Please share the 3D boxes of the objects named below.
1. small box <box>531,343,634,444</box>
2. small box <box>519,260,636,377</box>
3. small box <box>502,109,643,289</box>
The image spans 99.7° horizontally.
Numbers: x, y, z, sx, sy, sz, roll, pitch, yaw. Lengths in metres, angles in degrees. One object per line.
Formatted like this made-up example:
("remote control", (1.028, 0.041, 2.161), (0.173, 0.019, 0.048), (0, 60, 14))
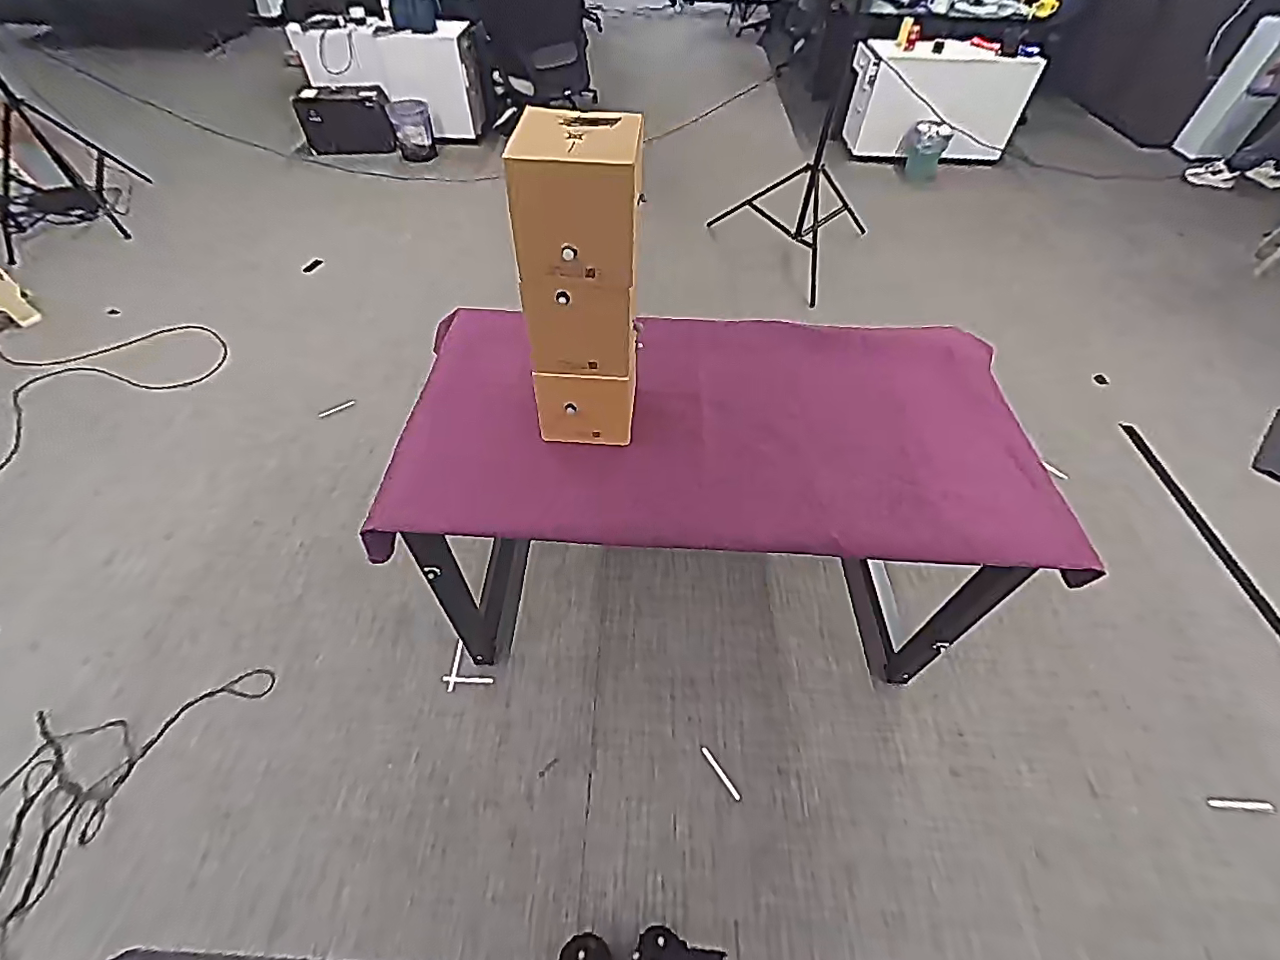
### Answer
("small box", (-0.098, -0.185, 1.020), (0.168, 0.176, 0.179), (3, 50, 1))
("small box", (-0.094, -0.294, 0.897), (0.168, 0.176, 0.179), (3, 50, 1))
("small box", (-0.086, -0.398, 0.768), (0.168, 0.176, 0.179), (3, 51, 1))
